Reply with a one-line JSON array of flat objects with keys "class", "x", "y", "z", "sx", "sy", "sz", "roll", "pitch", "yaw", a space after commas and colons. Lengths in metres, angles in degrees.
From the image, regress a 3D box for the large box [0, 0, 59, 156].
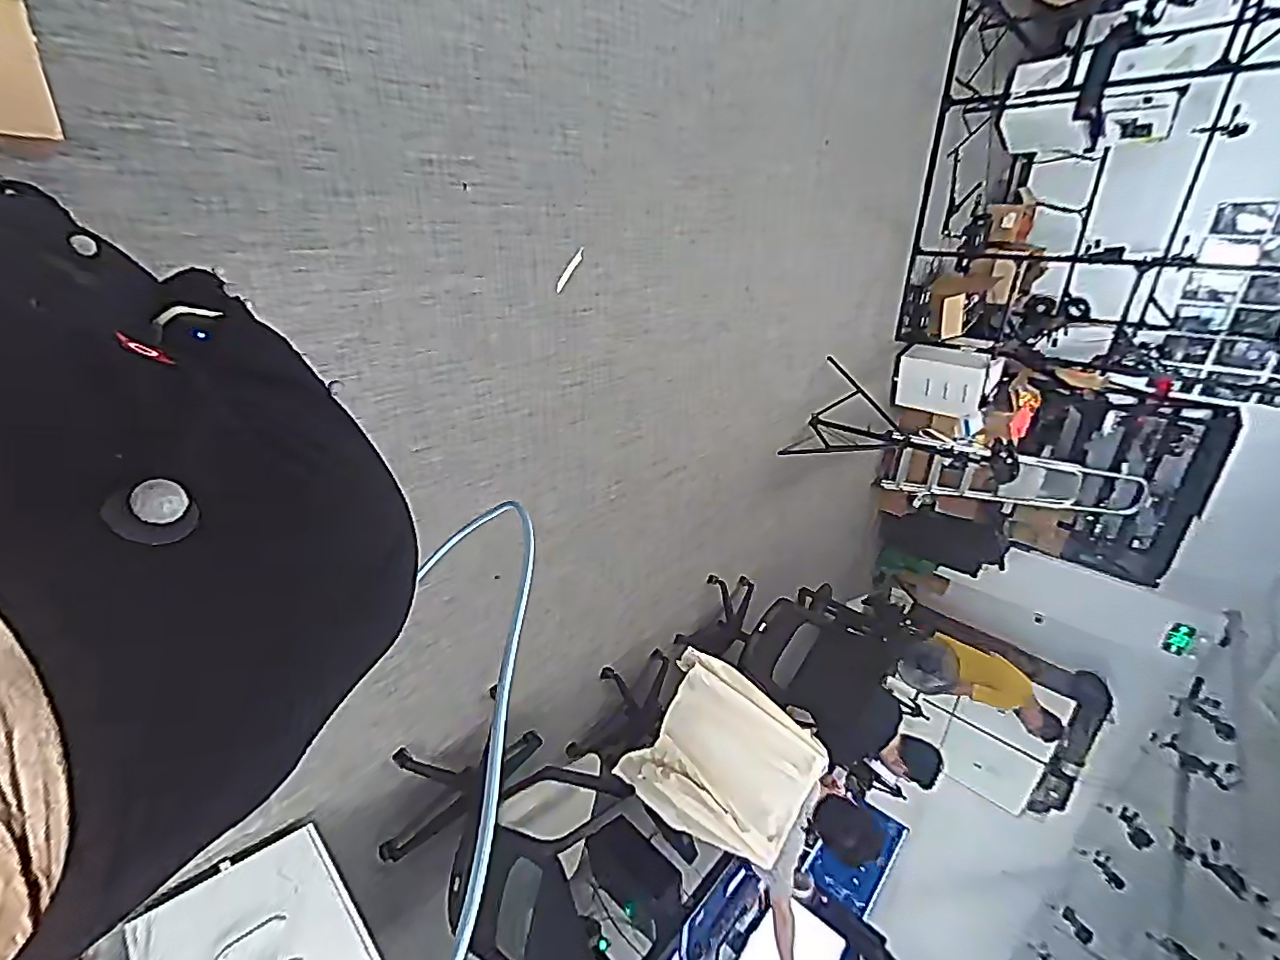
[{"class": "large box", "x": -0.986, "y": -0.564, "z": 0.596, "sx": 0.408, "sy": 0.320, "sz": 0.320, "roll": -21, "pitch": 122, "yaw": -43}]
